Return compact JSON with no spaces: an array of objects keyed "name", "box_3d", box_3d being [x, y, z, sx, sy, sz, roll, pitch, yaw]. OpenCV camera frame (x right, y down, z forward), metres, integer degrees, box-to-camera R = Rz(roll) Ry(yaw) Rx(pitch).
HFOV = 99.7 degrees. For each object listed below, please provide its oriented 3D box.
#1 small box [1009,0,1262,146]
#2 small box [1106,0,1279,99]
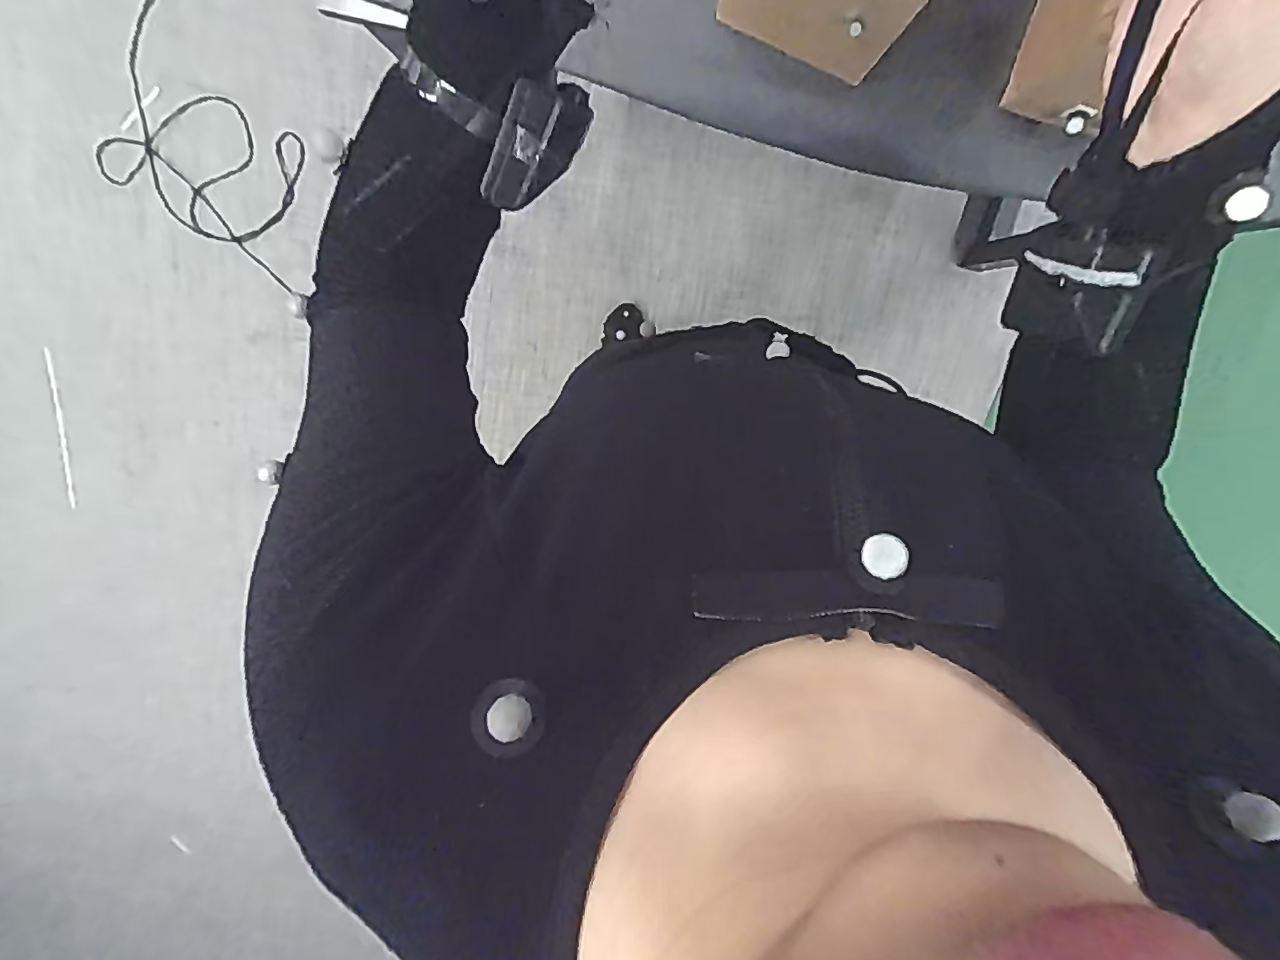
[{"name":"small box","box_3d":[0.497,-0.451,0.508,0.168,0.176,0.179,13,106,0]},{"name":"small box","box_3d":[0.487,-0.393,0.356,0.179,0.176,0.168,24,105,-3]}]
